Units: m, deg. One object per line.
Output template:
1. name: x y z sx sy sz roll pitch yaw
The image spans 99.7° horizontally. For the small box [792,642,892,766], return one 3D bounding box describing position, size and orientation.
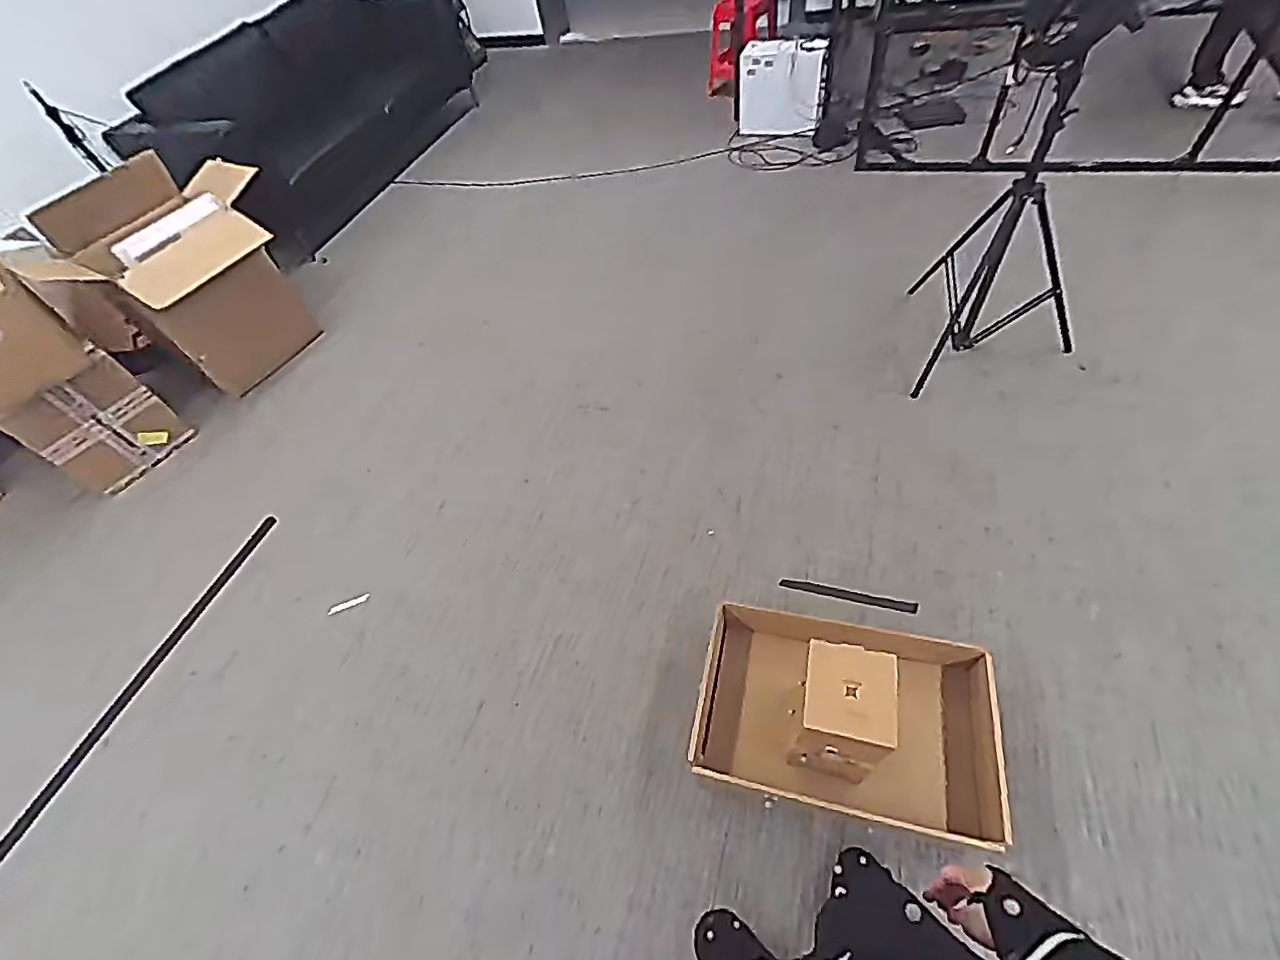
1. small box: 0.405 0.456 1.098 0.168 0.176 0.179 7 55 15
